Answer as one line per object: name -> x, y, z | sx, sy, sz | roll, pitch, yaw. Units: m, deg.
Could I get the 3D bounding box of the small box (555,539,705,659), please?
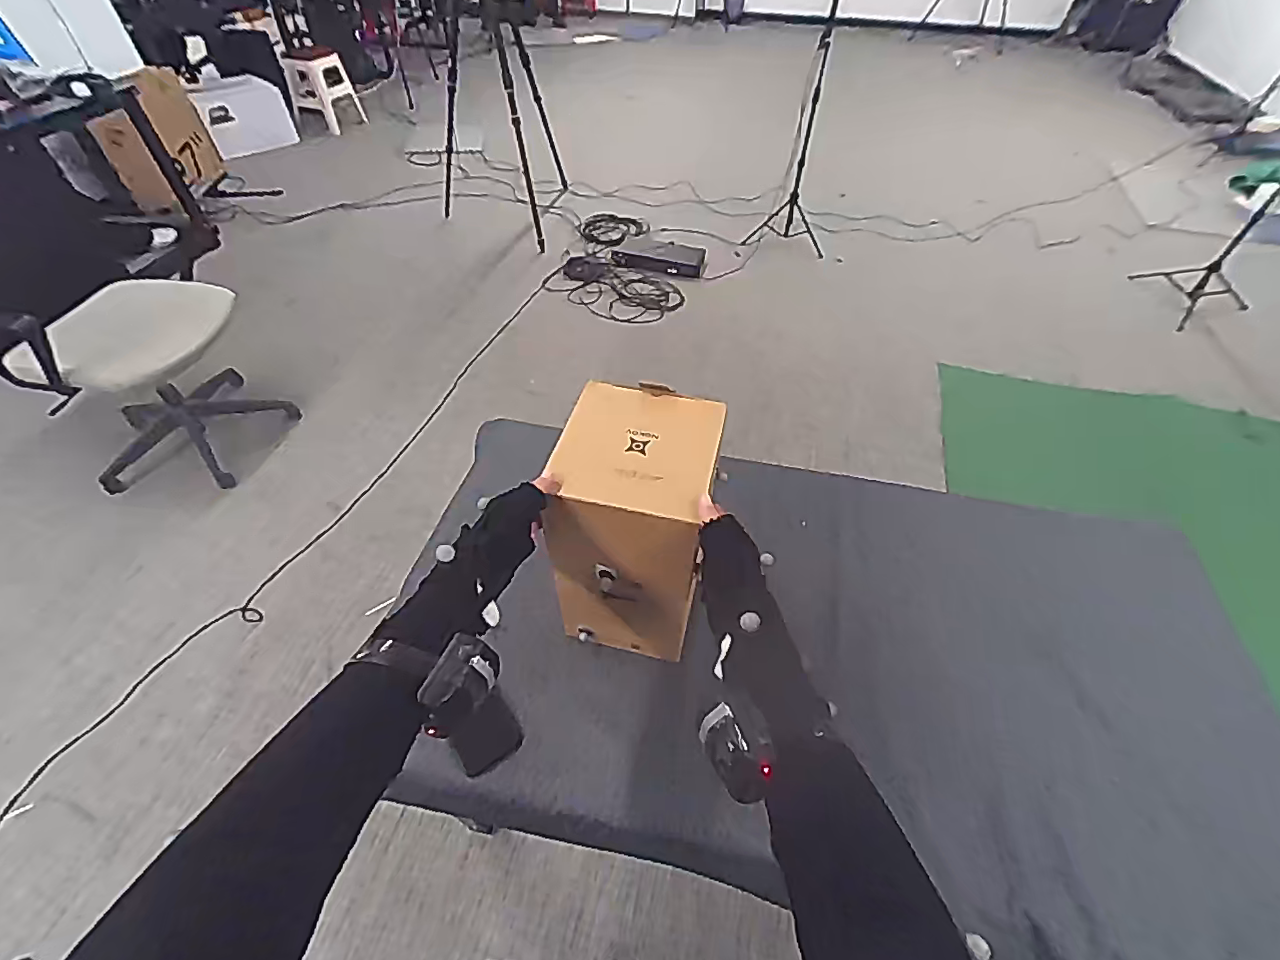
small box -> -0.004, 0.121, 0.748 | 0.168, 0.176, 0.179 | 12, 49, 9

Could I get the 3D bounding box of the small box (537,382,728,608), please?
small box -> -0.003, 0.018, 0.623 | 0.168, 0.176, 0.179 | 12, 50, 9
